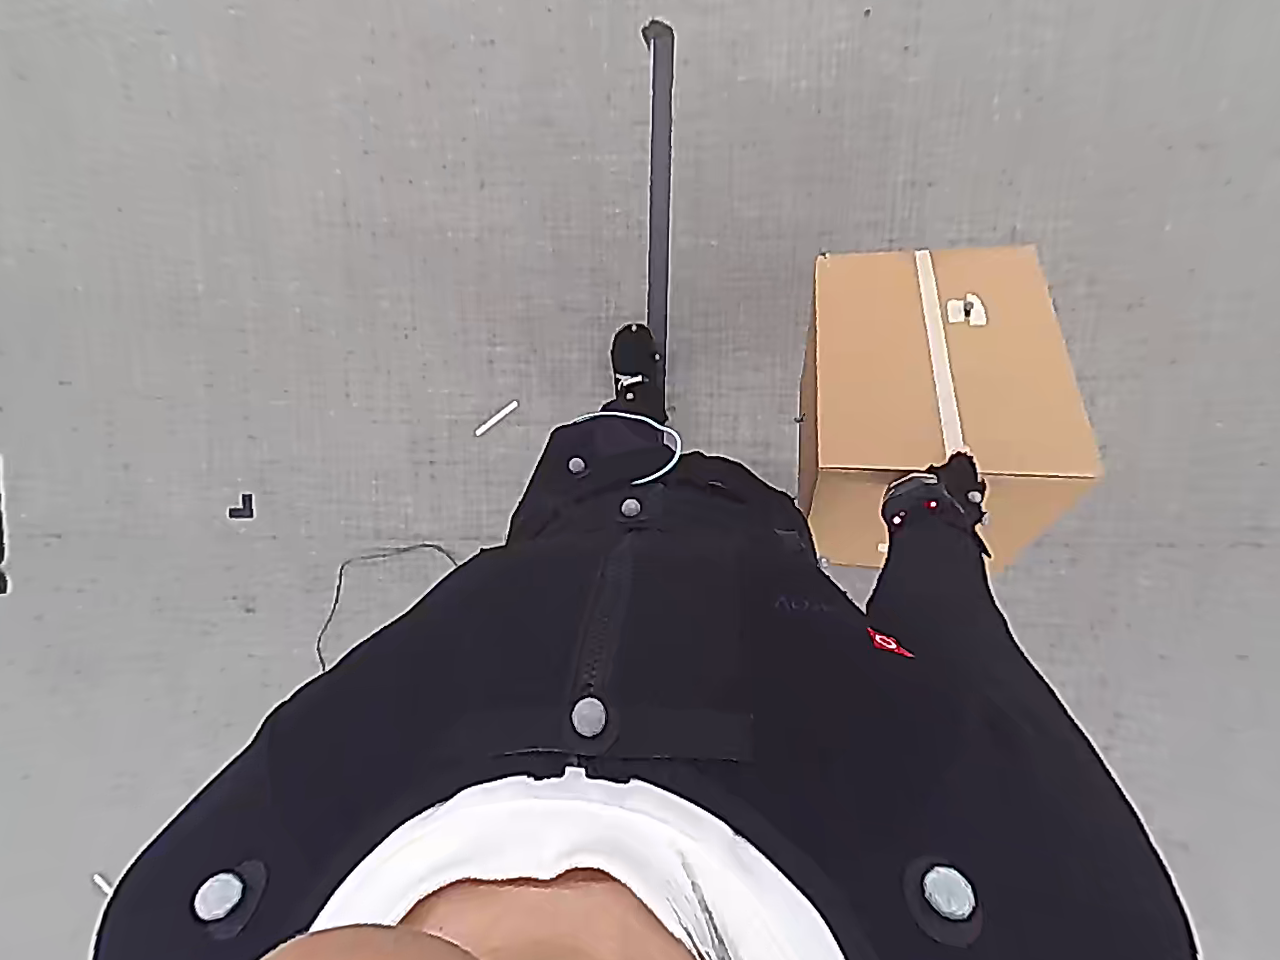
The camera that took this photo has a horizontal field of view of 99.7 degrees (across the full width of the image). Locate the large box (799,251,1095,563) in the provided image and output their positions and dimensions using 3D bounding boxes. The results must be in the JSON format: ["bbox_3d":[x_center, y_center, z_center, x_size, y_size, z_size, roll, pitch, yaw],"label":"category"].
[{"bbox_3d":[0.432,-0.108,0.884,0.320,0.320,0.408,3,59,11],"label":"large box"}]
